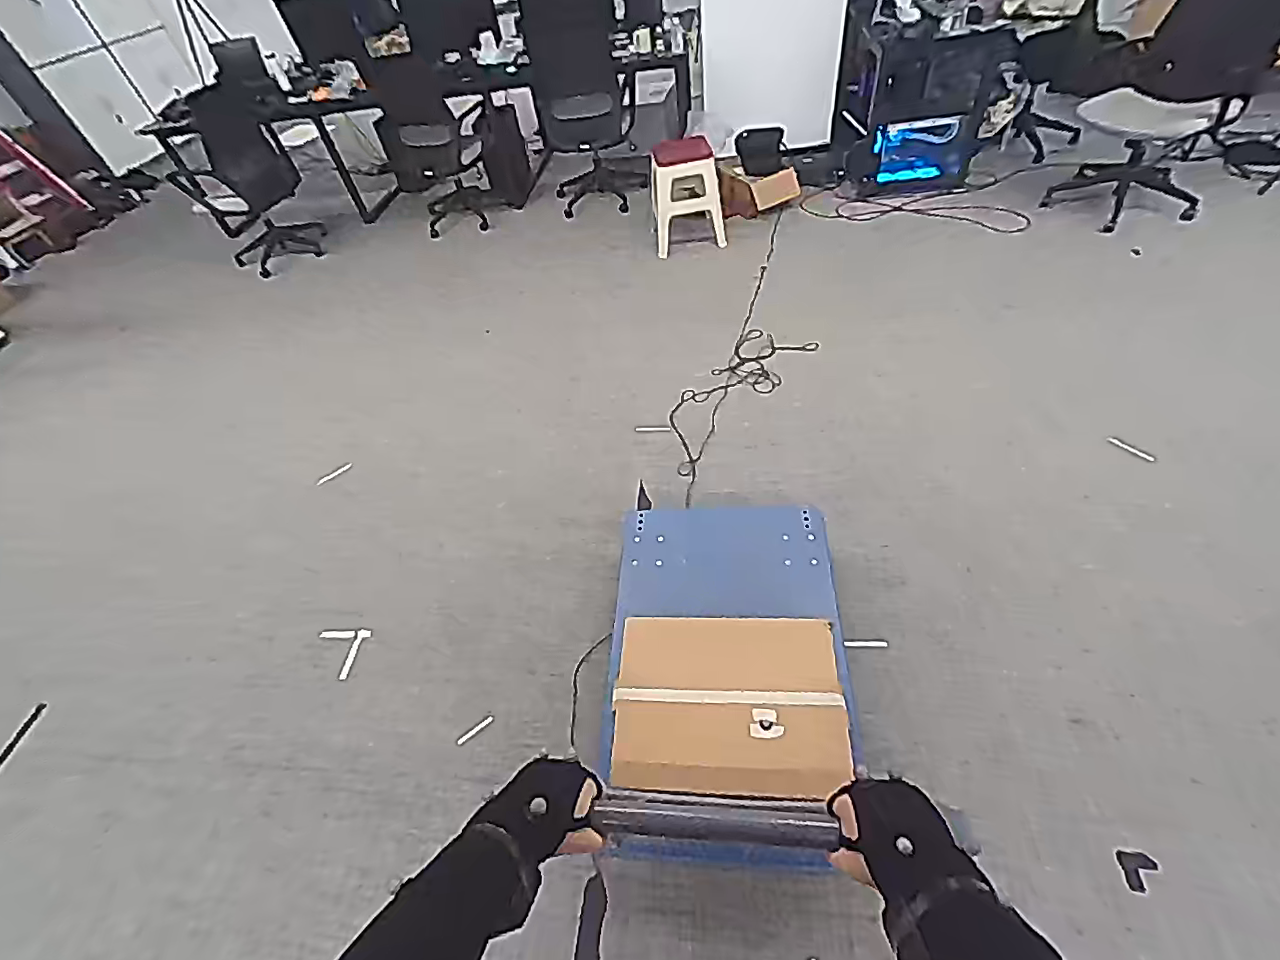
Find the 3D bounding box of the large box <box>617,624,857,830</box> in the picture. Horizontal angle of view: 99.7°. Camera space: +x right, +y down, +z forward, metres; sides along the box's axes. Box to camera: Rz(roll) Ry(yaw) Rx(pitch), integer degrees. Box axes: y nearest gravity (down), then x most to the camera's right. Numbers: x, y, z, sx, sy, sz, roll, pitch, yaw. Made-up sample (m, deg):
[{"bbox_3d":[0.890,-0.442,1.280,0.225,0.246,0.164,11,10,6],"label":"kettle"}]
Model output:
[{"bbox_3d":[0.180,0.505,1.101,0.408,0.320,0.320,-2,50,8],"label":"large box"}]
